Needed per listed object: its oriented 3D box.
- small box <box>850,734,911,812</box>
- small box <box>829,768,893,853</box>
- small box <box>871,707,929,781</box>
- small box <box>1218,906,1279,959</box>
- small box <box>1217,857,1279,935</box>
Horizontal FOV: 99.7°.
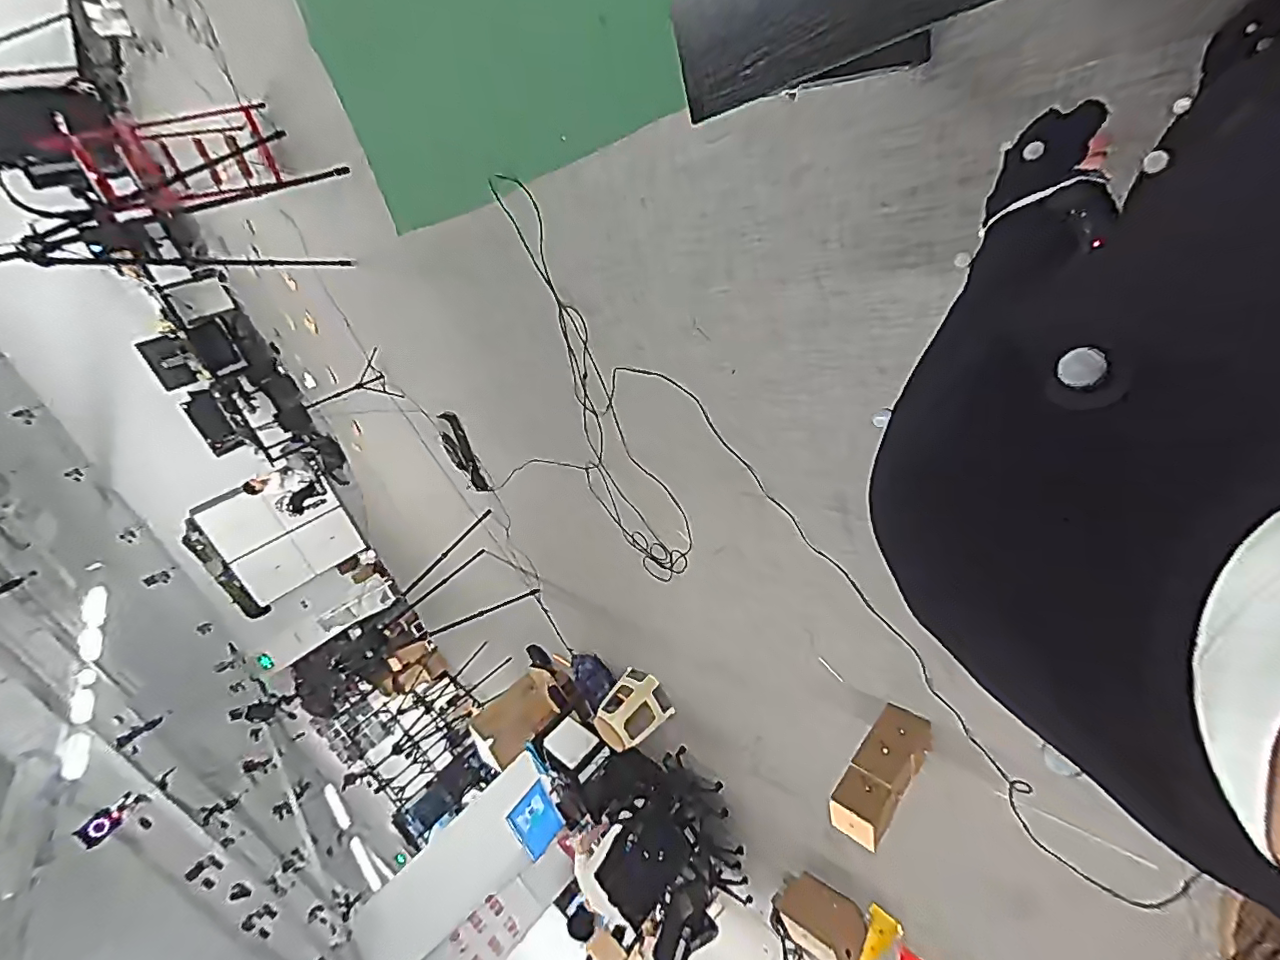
[{"bbox_3d":[0.934,1.136,2.095,0.168,0.176,0.179,15,130,44],"label":"small box"},{"bbox_3d":[0.826,1.223,2.010,0.168,0.176,0.179,15,130,44],"label":"small box"},{"bbox_3d":[1.050,1.057,2.181,0.179,0.176,0.168,14,129,44],"label":"small box"},{"bbox_3d":[1.616,1.251,1.382,0.168,0.176,0.179,15,131,42],"label":"small box"},{"bbox_3d":[1.718,1.184,1.466,0.168,0.176,0.179,18,132,41],"label":"small box"}]
